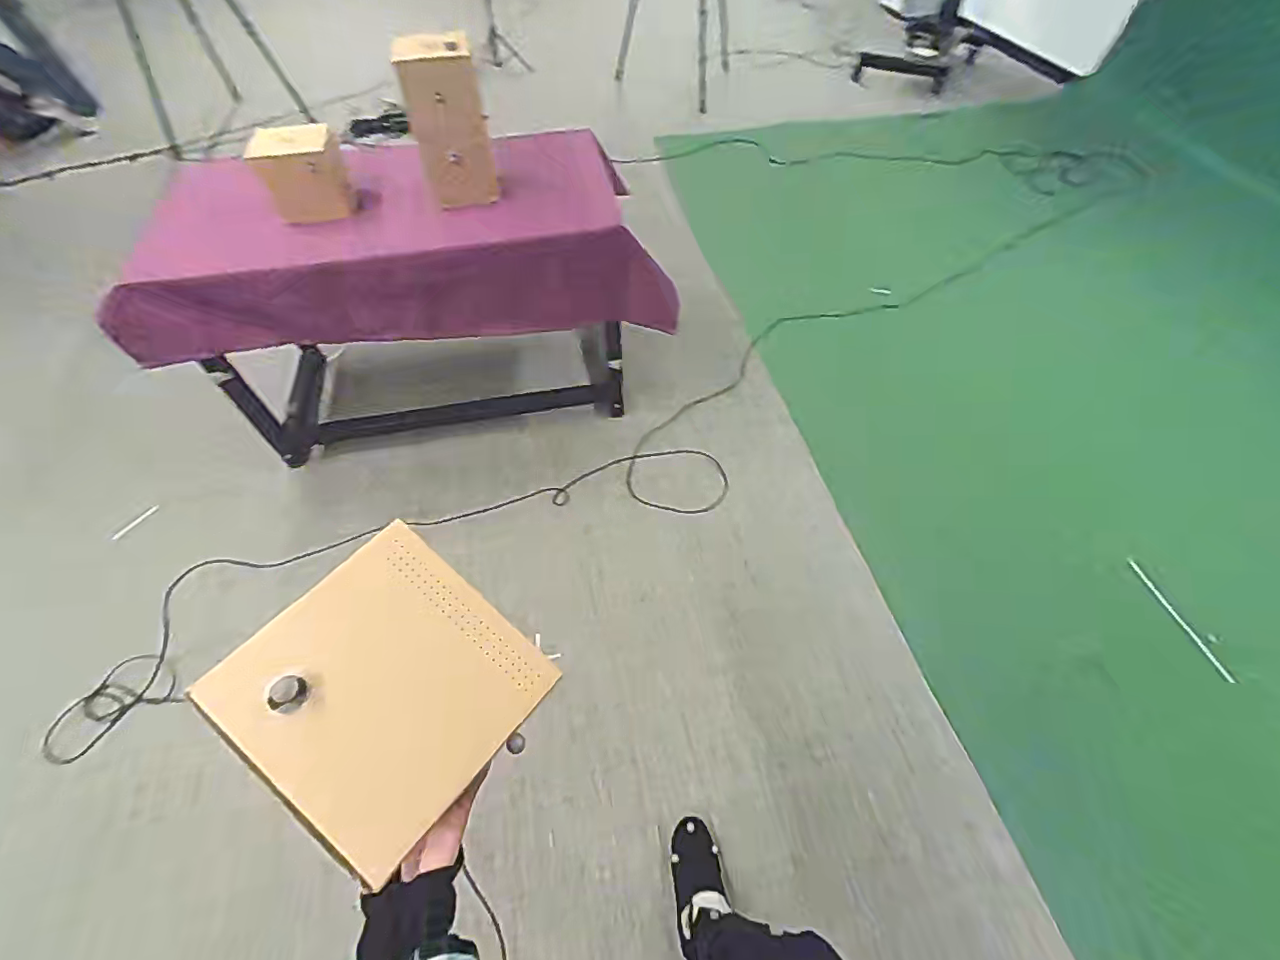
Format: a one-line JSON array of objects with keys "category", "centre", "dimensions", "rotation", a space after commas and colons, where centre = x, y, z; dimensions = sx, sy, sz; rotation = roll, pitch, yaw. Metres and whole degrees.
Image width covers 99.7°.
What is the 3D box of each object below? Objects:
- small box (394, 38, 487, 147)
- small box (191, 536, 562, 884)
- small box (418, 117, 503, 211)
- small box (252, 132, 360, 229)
[{"category": "small box", "centre": [-0.478, -0.940, 1.317], "dimensions": [0.179, 0.176, 0.168], "rotation": [-11, 55, -6]}, {"category": "small box", "centre": [-0.189, 0.165, 0.440], "dimensions": [0.179, 0.168, 0.176], "rotation": [40, 65, 5]}, {"category": "small box", "centre": [-0.476, -0.843, 1.449], "dimensions": [0.179, 0.176, 0.168], "rotation": [-10, 55, -7]}, {"category": "small box", "centre": [-0.860, -0.777, 1.409], "dimensions": [0.179, 0.176, 0.168], "rotation": [-11, 54, -8]}]
